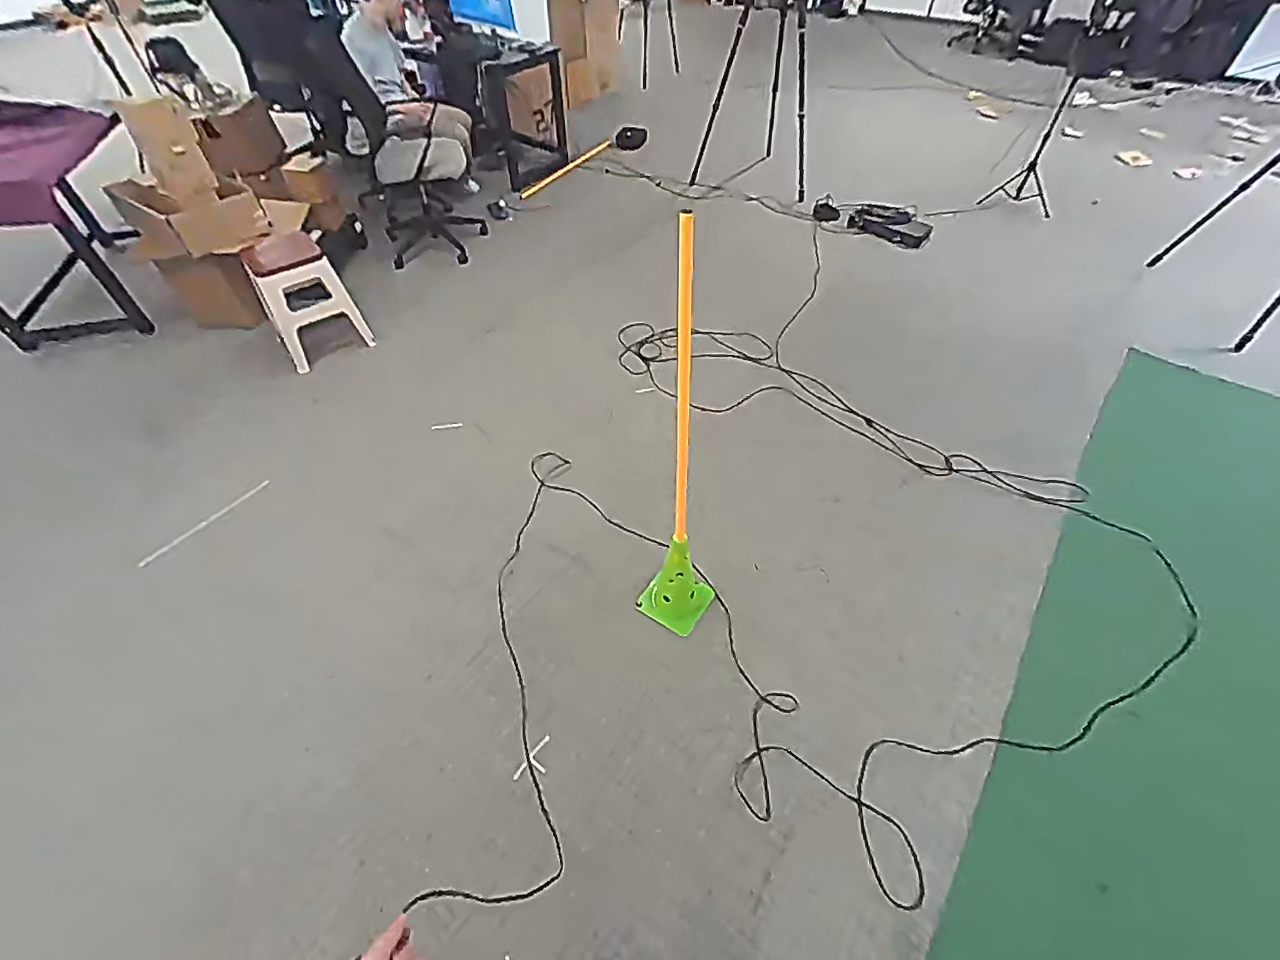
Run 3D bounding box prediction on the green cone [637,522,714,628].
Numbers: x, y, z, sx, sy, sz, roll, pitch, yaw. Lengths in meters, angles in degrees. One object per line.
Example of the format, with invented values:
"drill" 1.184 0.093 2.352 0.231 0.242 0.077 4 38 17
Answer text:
"green cone" 0.118 0.253 1.635 0.200 0.368 0.202 27 54 21
